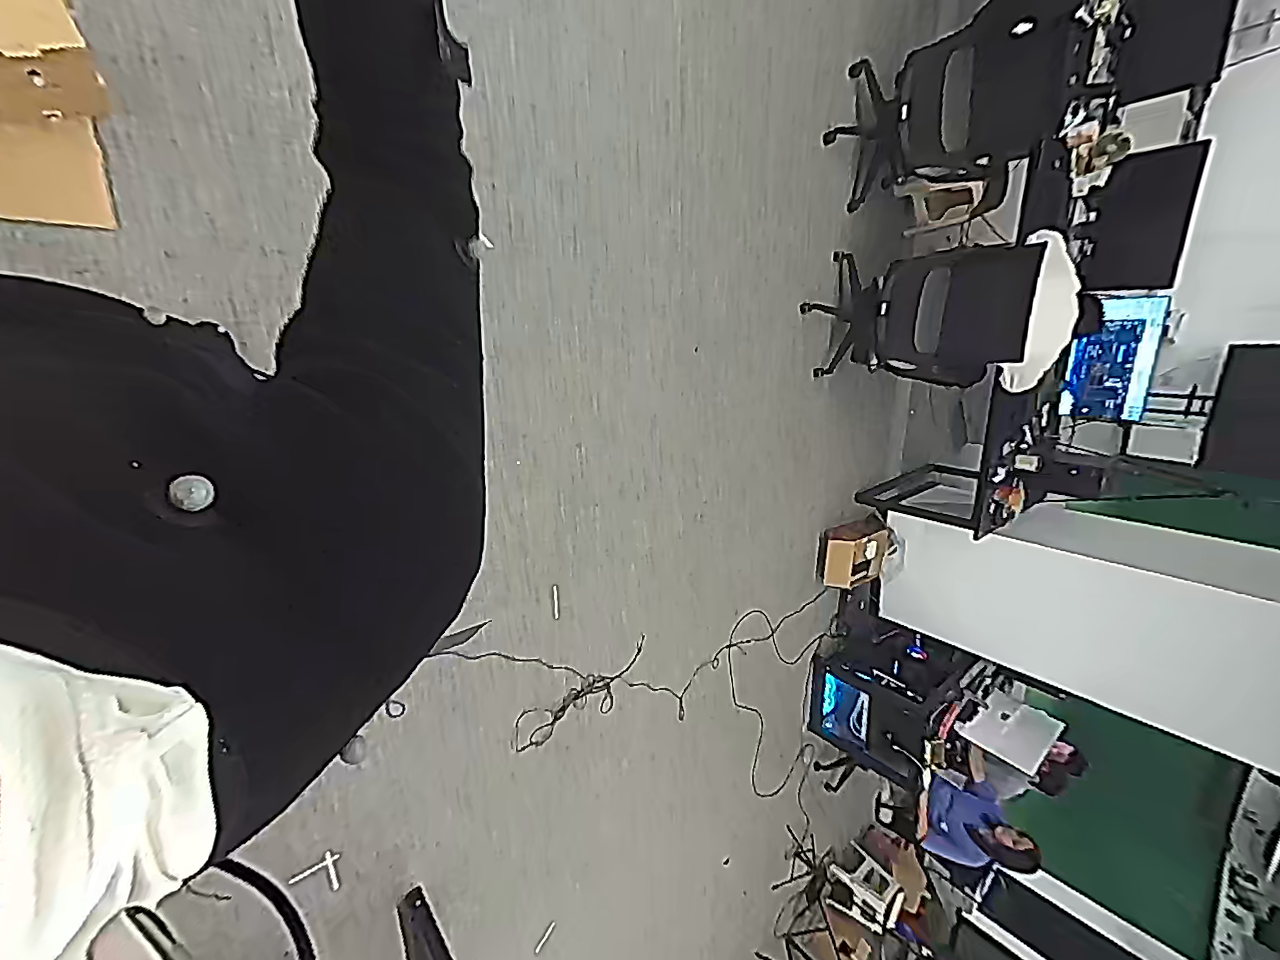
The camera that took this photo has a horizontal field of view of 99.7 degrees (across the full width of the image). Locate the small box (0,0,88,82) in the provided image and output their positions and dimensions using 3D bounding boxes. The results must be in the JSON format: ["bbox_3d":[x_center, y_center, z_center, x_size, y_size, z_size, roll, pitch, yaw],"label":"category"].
[{"bbox_3d":[-1.005,-0.735,0.828,0.168,0.176,0.179,-32,121,-31],"label":"small box"}]

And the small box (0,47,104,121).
[{"bbox_3d":[-1.105,-0.768,0.952,0.168,0.176,0.179,-34,121,-29],"label":"small box"}]
